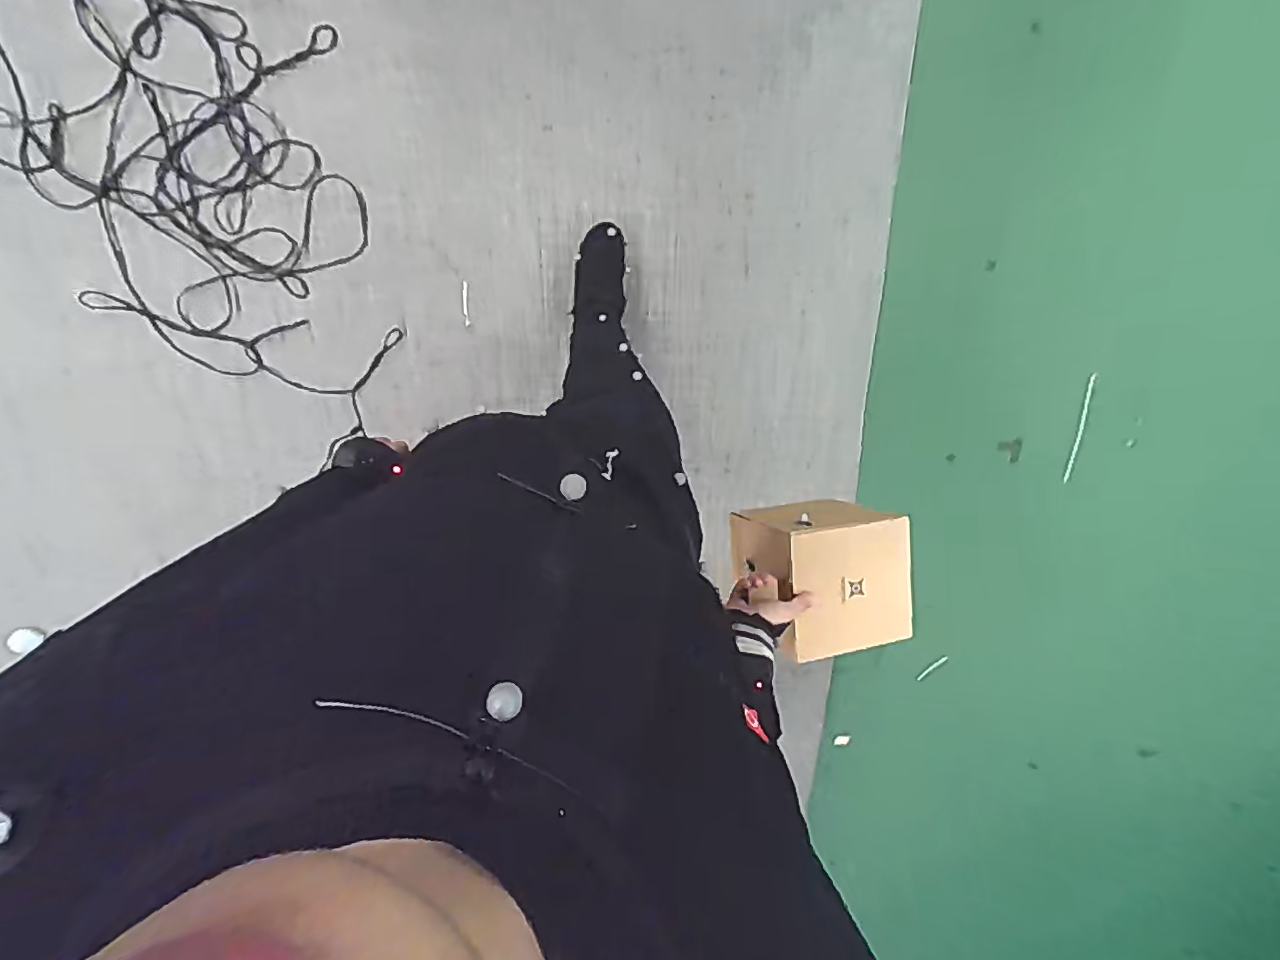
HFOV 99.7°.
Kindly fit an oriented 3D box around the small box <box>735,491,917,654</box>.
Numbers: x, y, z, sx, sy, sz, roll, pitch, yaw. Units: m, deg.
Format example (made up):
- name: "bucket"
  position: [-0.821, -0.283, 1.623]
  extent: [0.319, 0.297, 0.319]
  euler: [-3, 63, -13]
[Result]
- name: "small box"
  position: [0.250, 0.114, 0.747]
  extent: [0.179, 0.176, 0.168]
  euler: [-8, 98, -14]
